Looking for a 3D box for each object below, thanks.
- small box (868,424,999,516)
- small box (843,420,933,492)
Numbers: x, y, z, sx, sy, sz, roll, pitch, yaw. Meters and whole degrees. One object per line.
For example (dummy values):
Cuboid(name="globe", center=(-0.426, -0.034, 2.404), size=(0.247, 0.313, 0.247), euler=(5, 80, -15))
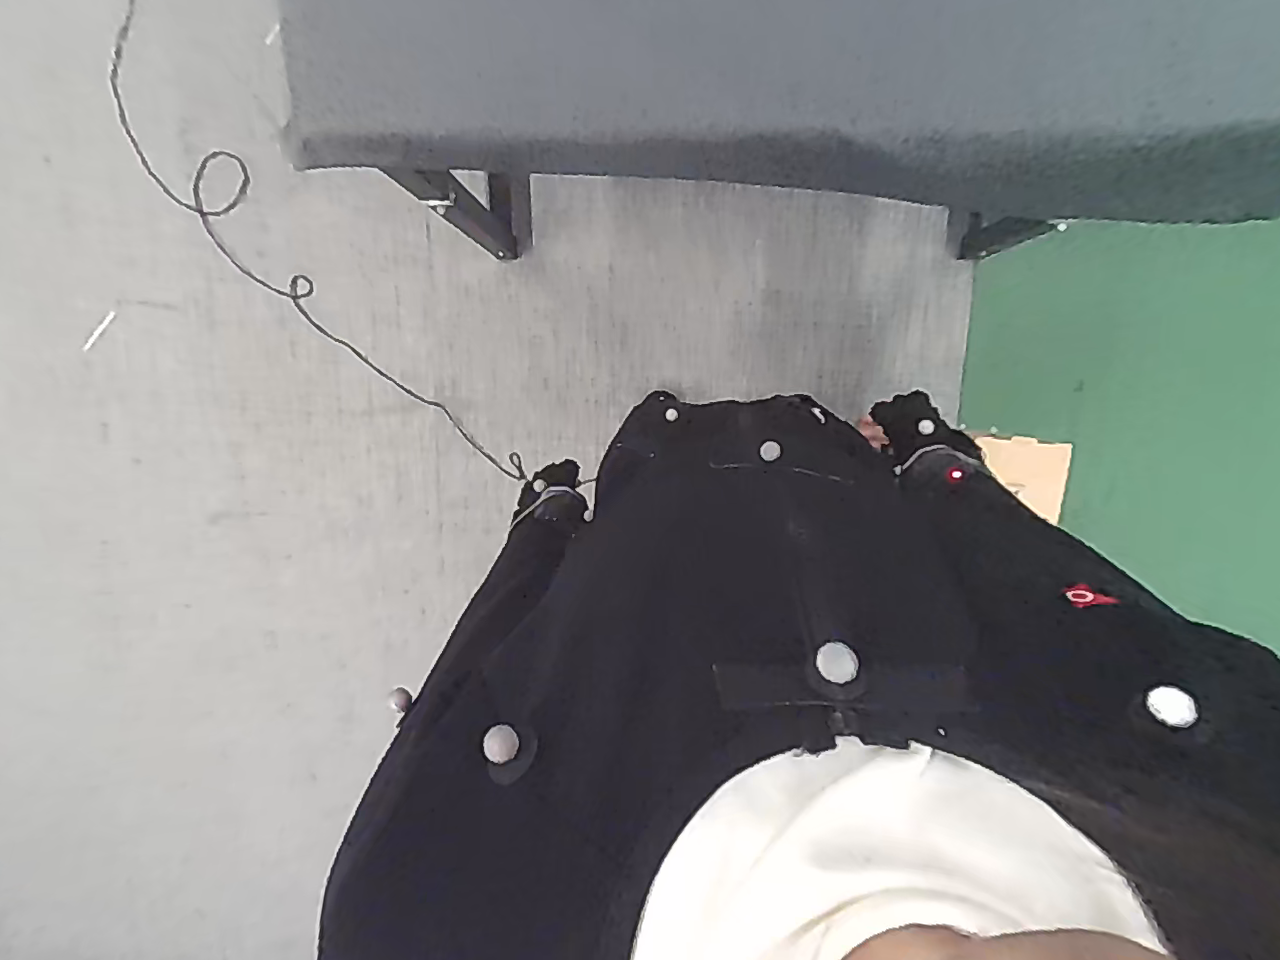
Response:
Cuboid(name="small box", center=(0.621, -0.028, 1.163), size=(0.179, 0.176, 0.168), euler=(6, 99, 1))
Cuboid(name="small box", center=(0.621, -0.057, 1.326), size=(0.179, 0.176, 0.168), euler=(5, 99, 2))
